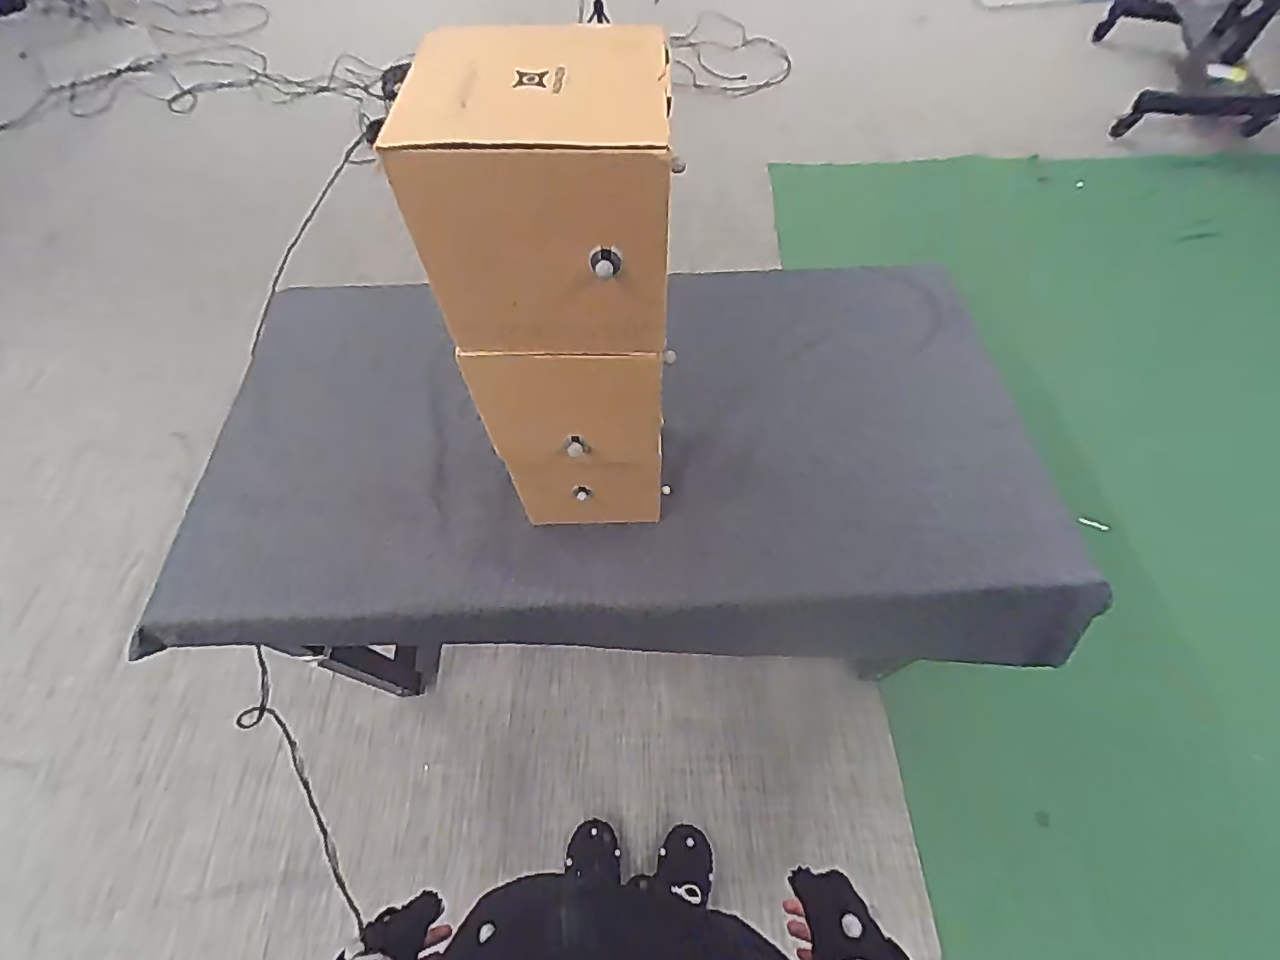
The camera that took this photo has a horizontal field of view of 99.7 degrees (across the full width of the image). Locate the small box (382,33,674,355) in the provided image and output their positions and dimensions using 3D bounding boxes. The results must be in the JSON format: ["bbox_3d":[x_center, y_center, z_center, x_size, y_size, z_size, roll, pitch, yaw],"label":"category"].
[{"bbox_3d":[-0.066,-0.215,0.429,0.179,0.176,0.168,-1,59,2],"label":"small box"}]

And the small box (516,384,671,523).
[{"bbox_3d":[-0.059,-0.054,0.712,0.179,0.176,0.168,-4,60,-2],"label":"small box"}]

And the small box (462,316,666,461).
[{"bbox_3d":[-0.065,-0.131,0.568,0.179,0.176,0.168,0,59,1],"label":"small box"}]
